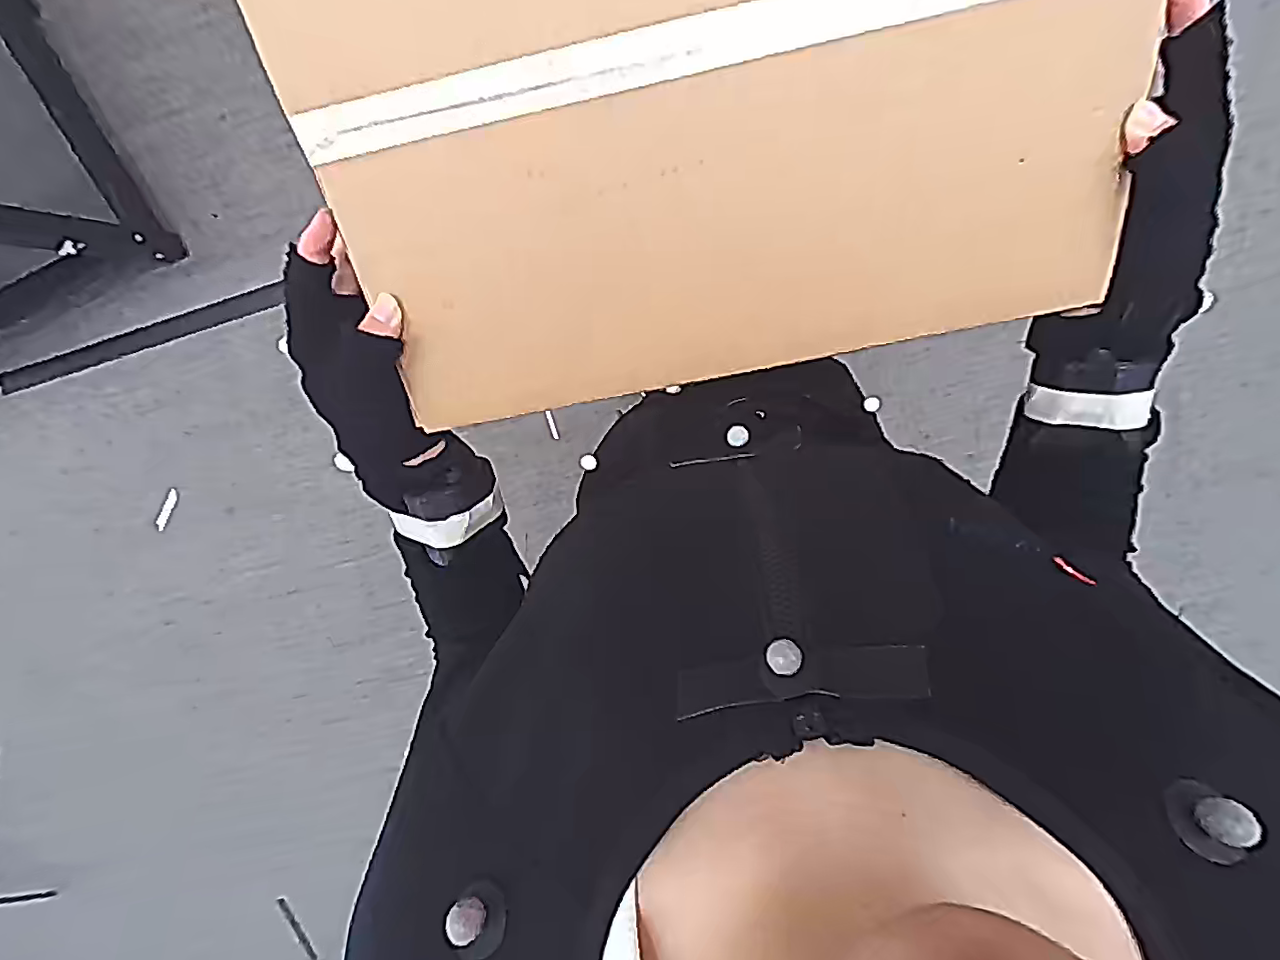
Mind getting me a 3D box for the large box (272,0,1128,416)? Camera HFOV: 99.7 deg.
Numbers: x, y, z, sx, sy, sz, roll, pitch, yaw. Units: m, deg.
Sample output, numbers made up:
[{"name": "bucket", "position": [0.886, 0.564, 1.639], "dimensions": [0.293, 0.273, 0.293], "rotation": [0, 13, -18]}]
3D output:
[{"name": "large box", "position": [0.028, -0.276, 0.396], "dimensions": [0.408, 0.320, 0.320], "rotation": [-11, 117, 4]}]
